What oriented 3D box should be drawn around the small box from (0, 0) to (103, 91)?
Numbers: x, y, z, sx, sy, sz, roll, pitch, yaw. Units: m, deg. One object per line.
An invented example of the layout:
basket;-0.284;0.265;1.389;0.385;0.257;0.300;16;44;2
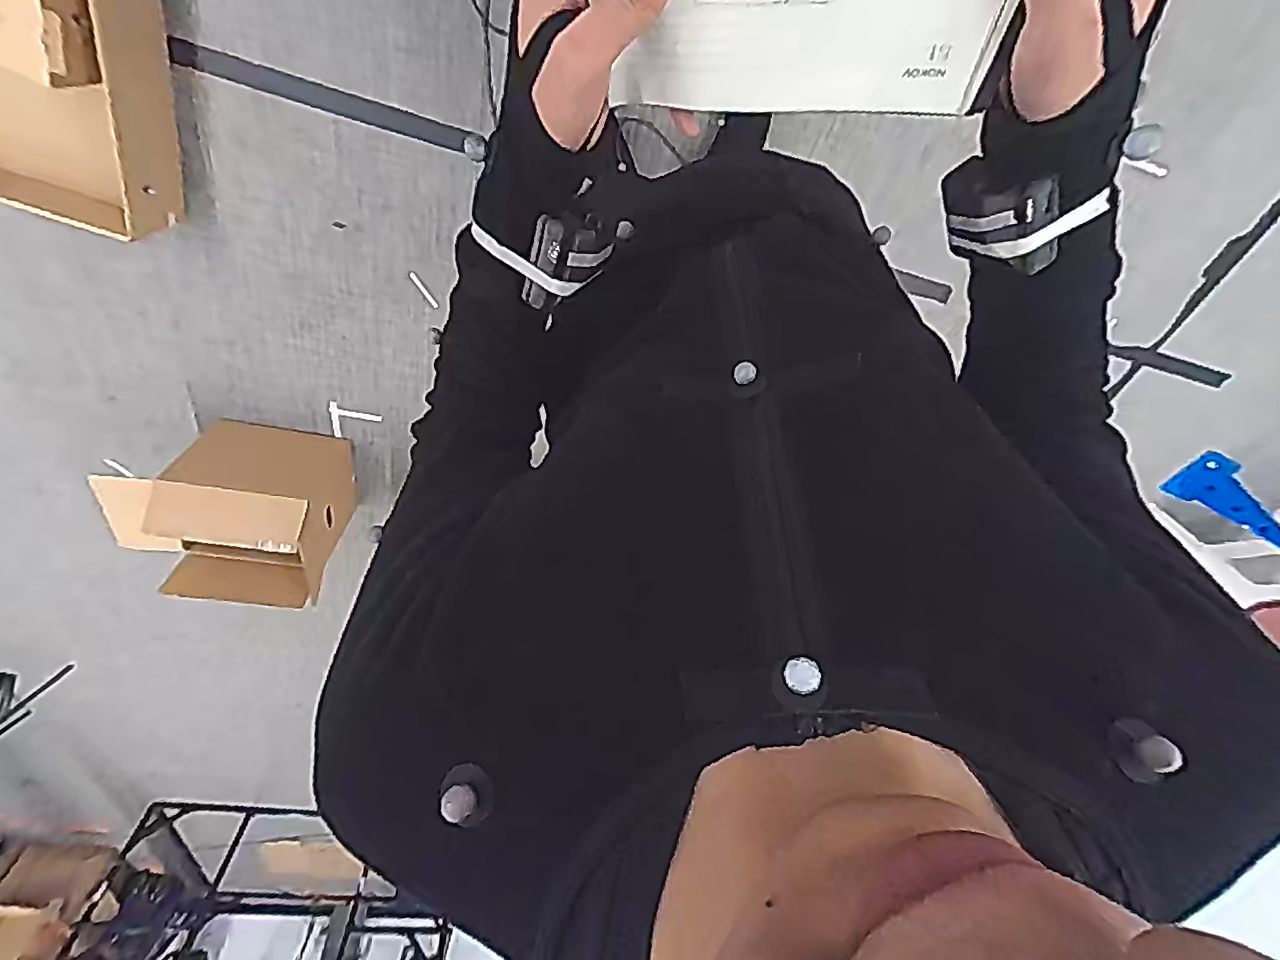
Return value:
small box;-1.145;-0.863;0.996;0.179;0.176;0.168;22;125;-20
